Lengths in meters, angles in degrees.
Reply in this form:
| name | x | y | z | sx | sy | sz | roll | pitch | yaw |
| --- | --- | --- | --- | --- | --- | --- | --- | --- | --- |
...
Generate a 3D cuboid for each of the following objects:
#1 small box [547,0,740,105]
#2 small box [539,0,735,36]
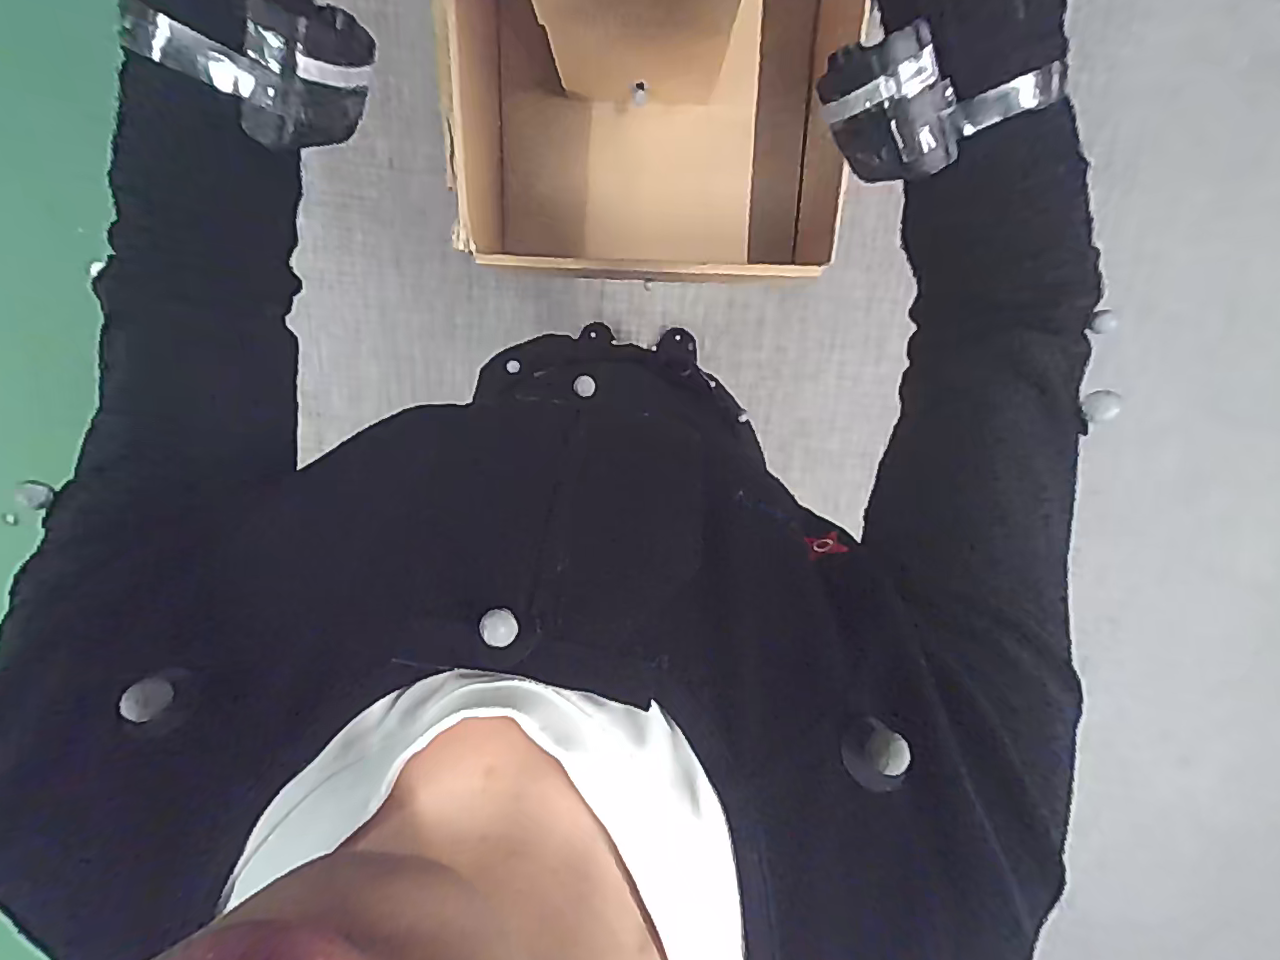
| name | x | y | z | sx | sy | sz | roll | pitch | yaw |
| --- | --- | --- | --- | --- | --- | --- | --- | --- | --- |
| small box | 0.004 | -0.507 | 0.547 | 0.179 | 0.176 | 0.168 | 1 | 104 | 0 |
| small box | 0.002 | -0.462 | 0.389 | 0.179 | 0.176 | 0.168 | 5 | 105 | -2 |
